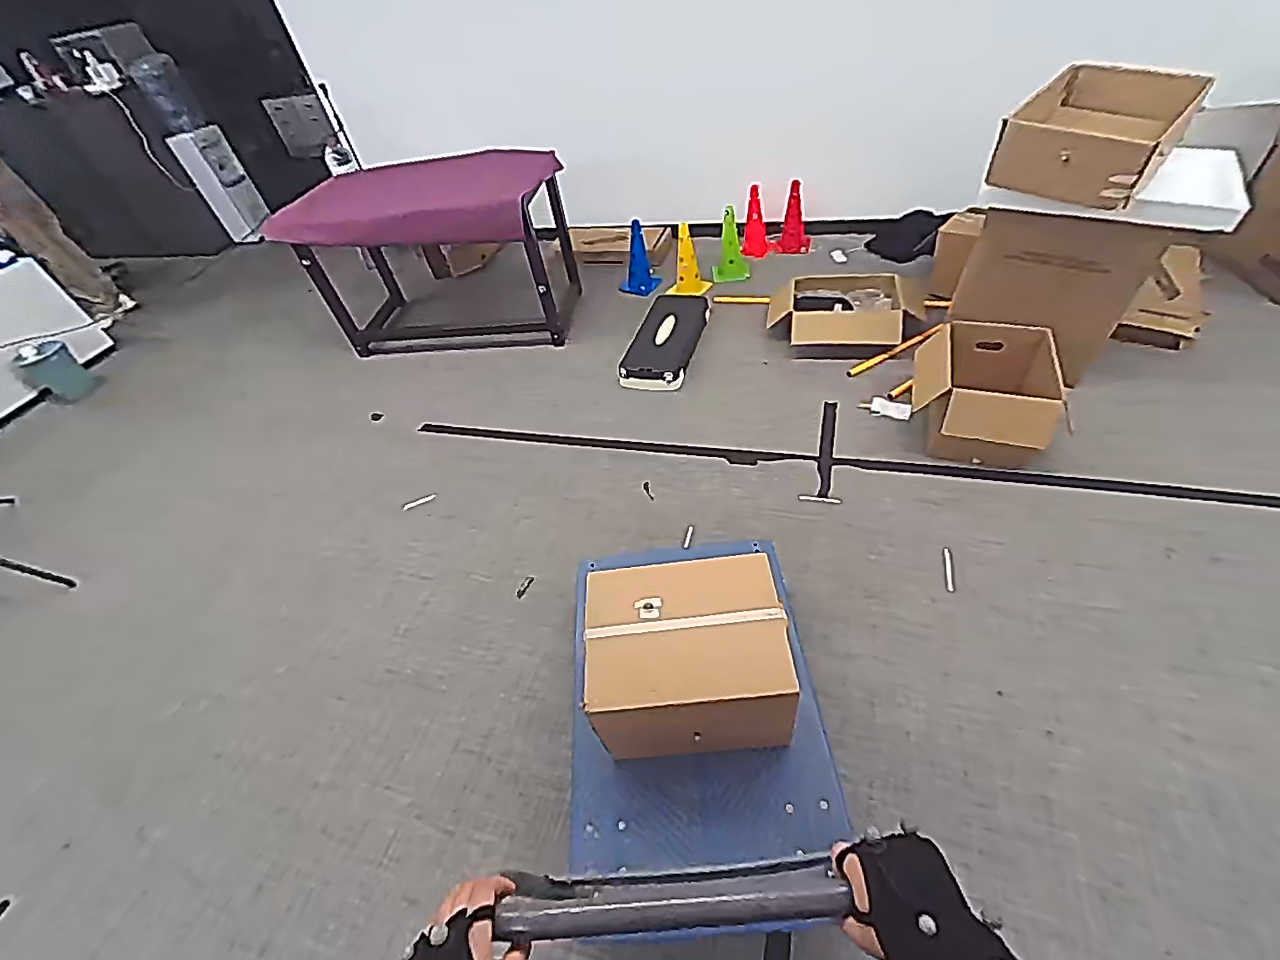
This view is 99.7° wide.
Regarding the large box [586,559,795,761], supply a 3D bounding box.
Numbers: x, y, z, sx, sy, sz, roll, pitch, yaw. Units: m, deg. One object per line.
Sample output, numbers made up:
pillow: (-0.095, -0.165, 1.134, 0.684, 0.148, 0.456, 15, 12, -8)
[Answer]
large box: (0.110, 0.414, 1.226, 0.408, 0.320, 0.320, -8, 46, 5)
